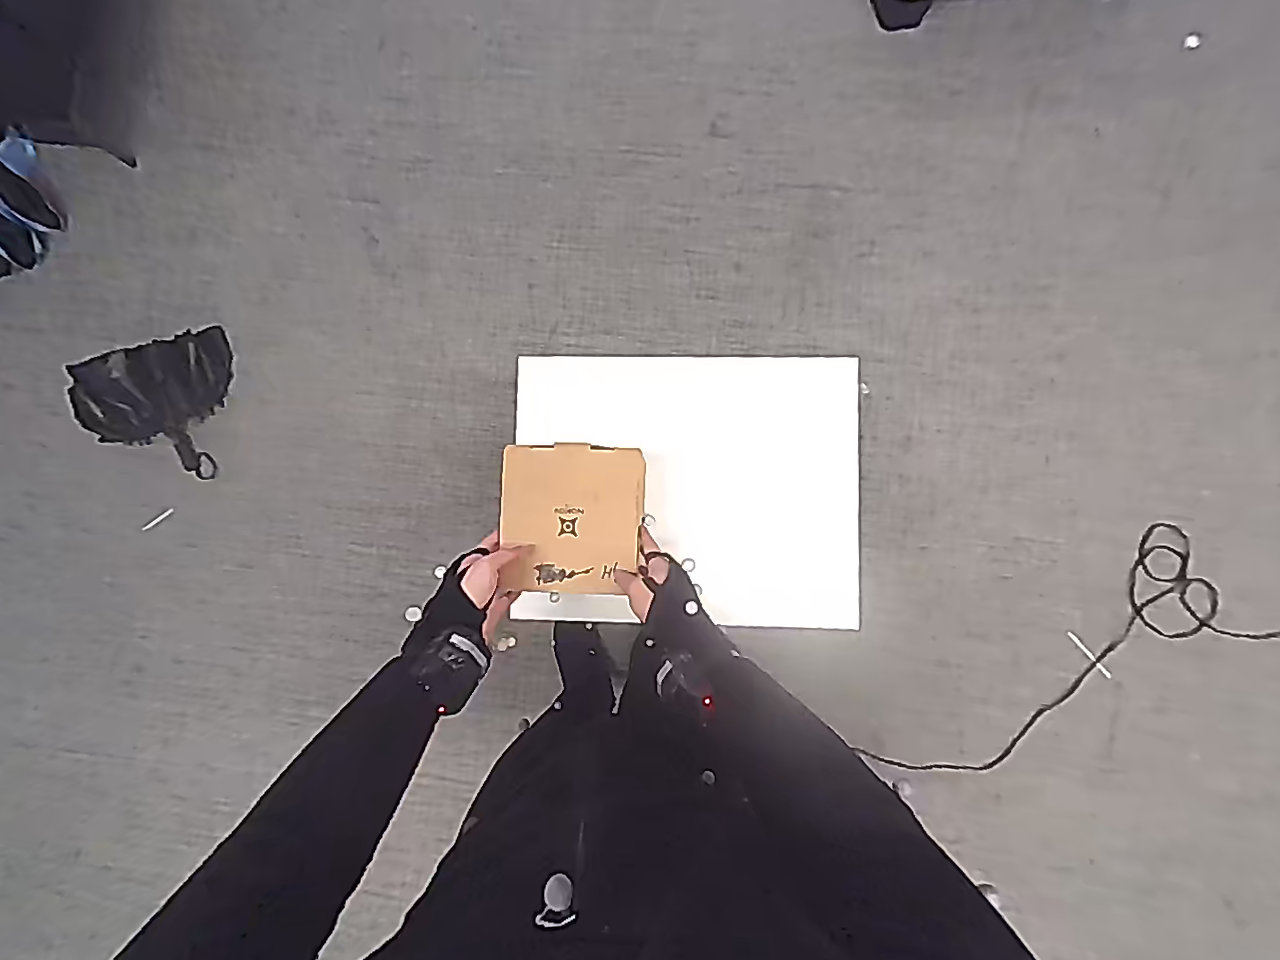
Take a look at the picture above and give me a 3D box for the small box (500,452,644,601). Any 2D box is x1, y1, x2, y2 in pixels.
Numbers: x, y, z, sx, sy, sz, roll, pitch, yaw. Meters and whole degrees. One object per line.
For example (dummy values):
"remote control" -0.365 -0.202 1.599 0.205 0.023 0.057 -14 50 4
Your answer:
"small box" -0.080 0.061 0.722 0.168 0.176 0.179 1 86 2
